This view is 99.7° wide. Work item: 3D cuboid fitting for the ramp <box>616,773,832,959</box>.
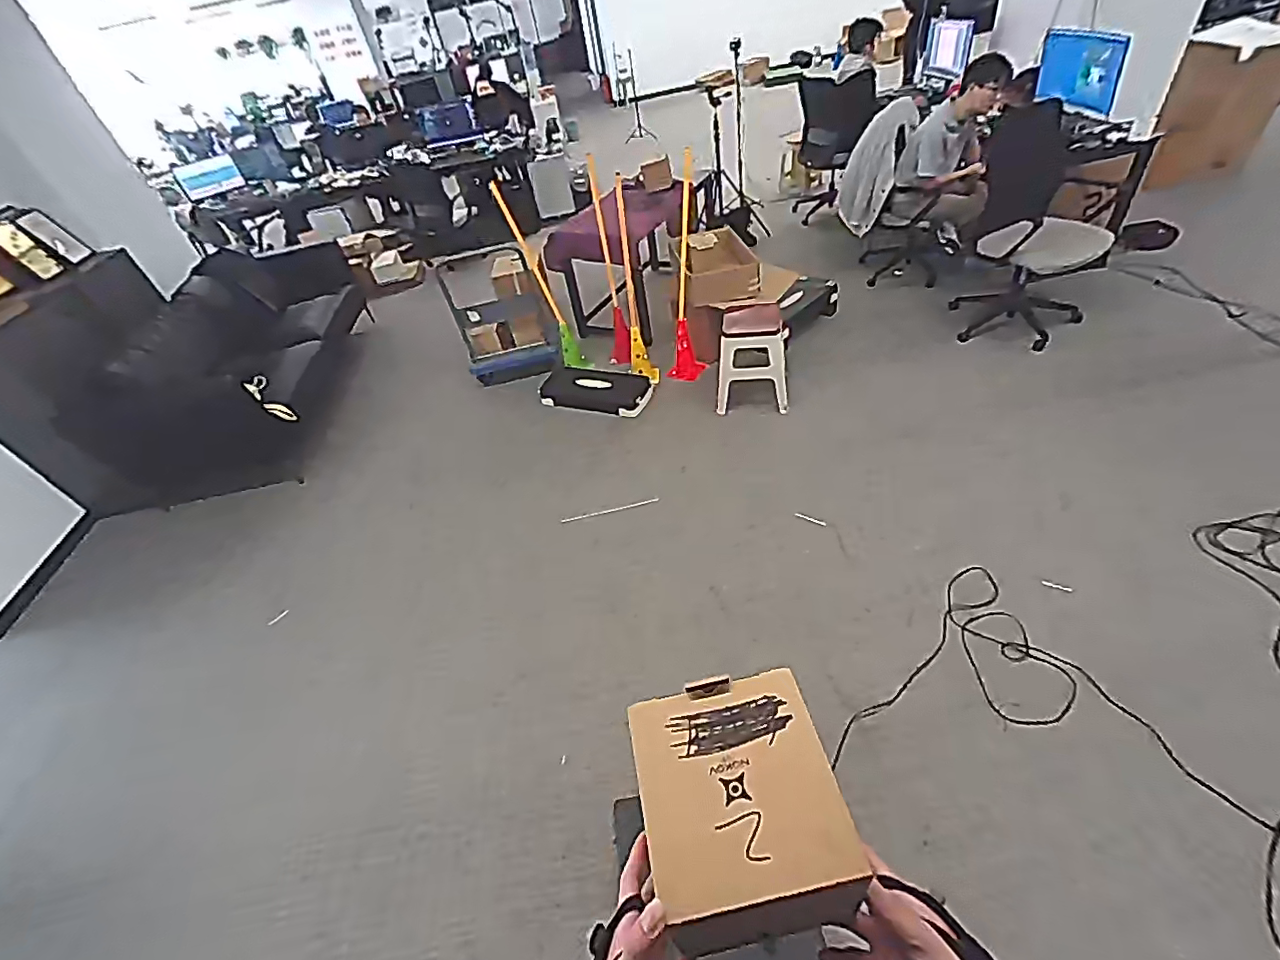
[{"bbox_3d":[0.217,1.203,1.227,0.509,0.206,0.991,-15,42,0],"label":"ramp"}]
